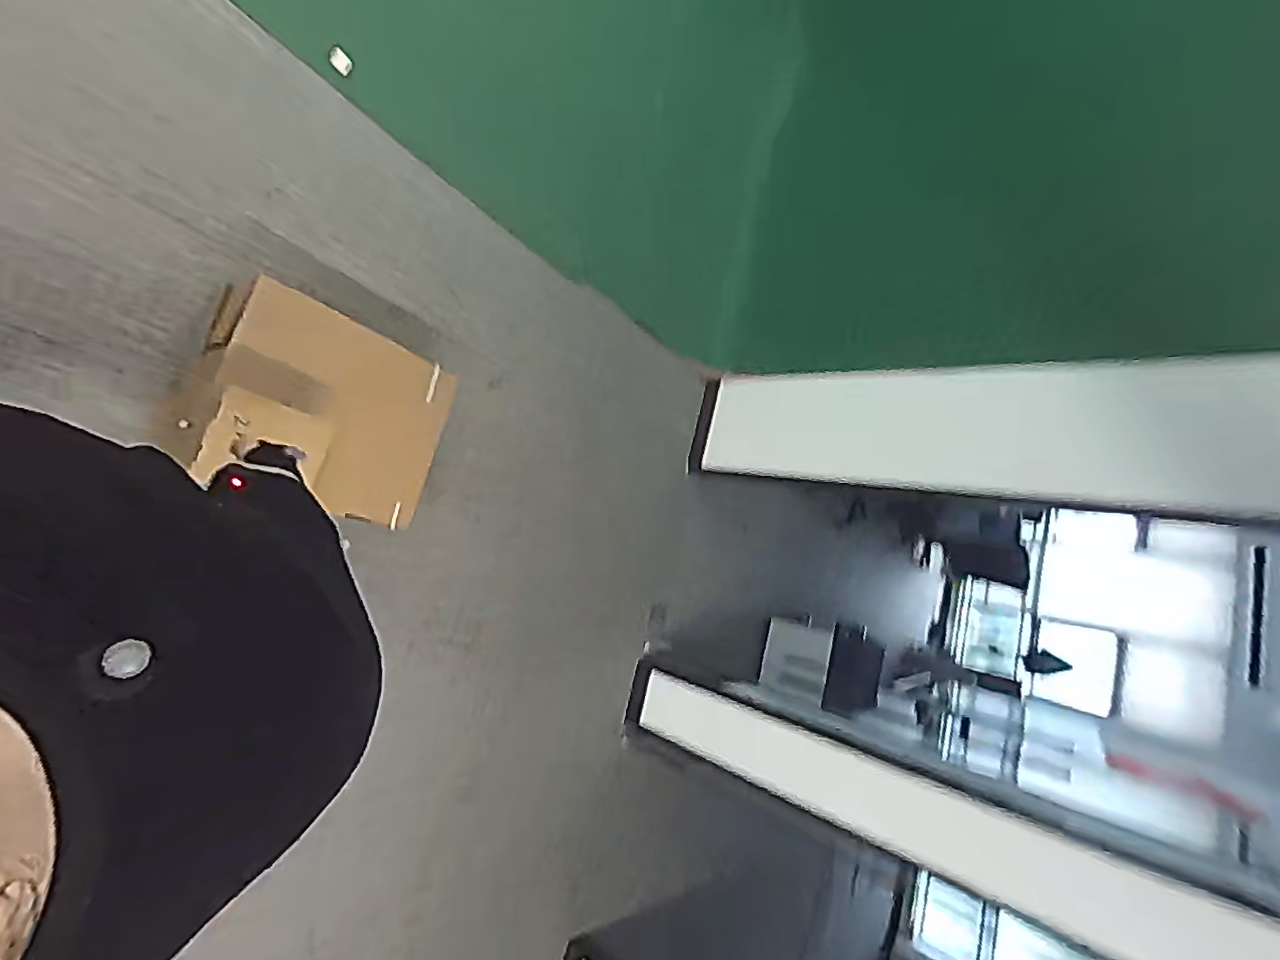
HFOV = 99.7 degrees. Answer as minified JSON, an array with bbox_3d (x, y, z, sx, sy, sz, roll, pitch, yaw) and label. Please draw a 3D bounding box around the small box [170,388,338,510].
[{"bbox_3d":[-0.689,-0.057,0.968,0.179,0.176,0.168,29,74,-49],"label":"small box"}]
